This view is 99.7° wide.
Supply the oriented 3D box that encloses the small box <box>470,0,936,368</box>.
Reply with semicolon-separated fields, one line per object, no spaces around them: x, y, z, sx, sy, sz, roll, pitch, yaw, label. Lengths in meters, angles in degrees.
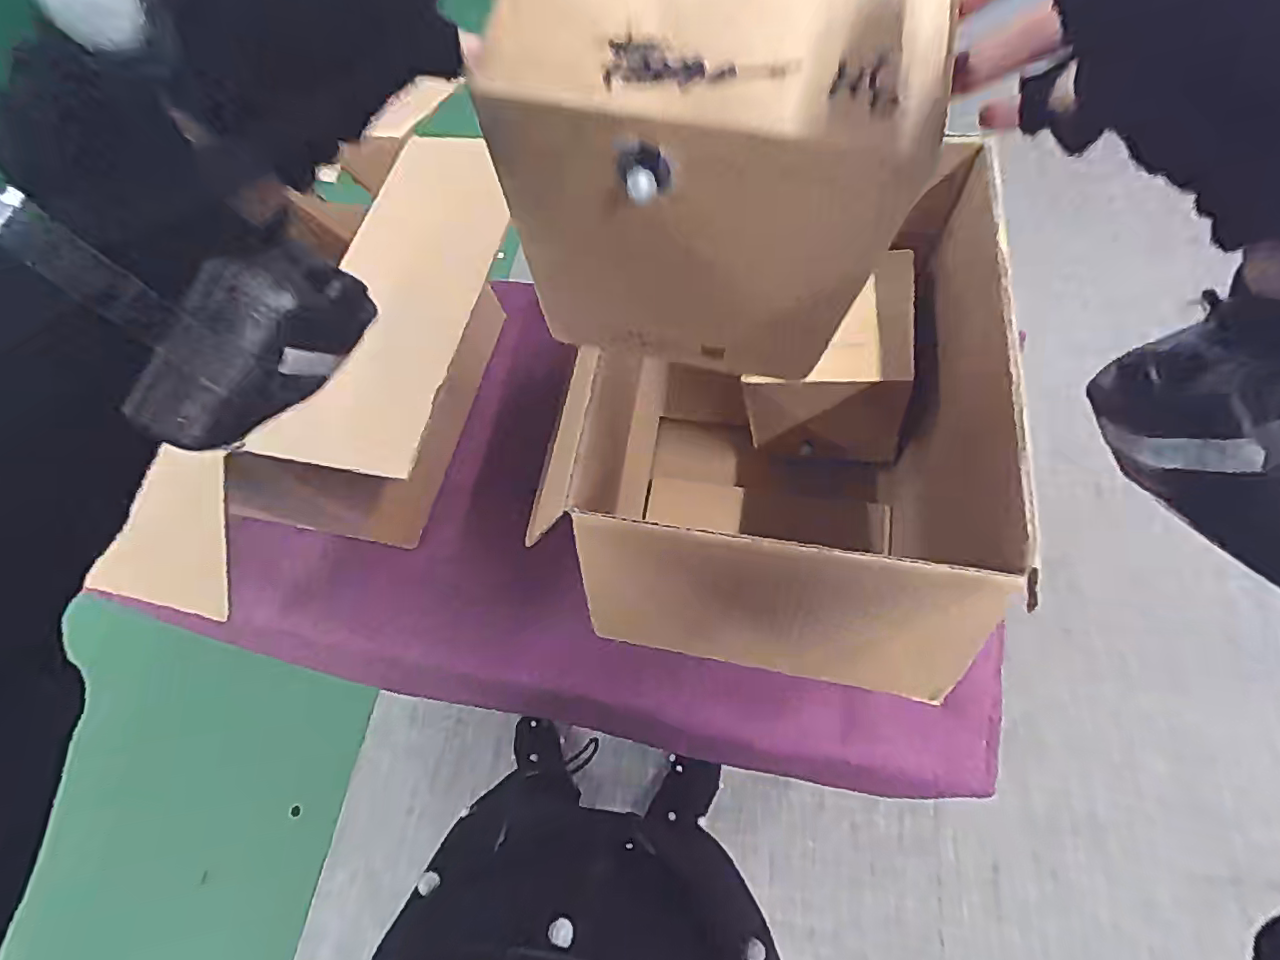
0.036;-0.187;0.289;0.168;0.176;0.179;11;74;6;small box
